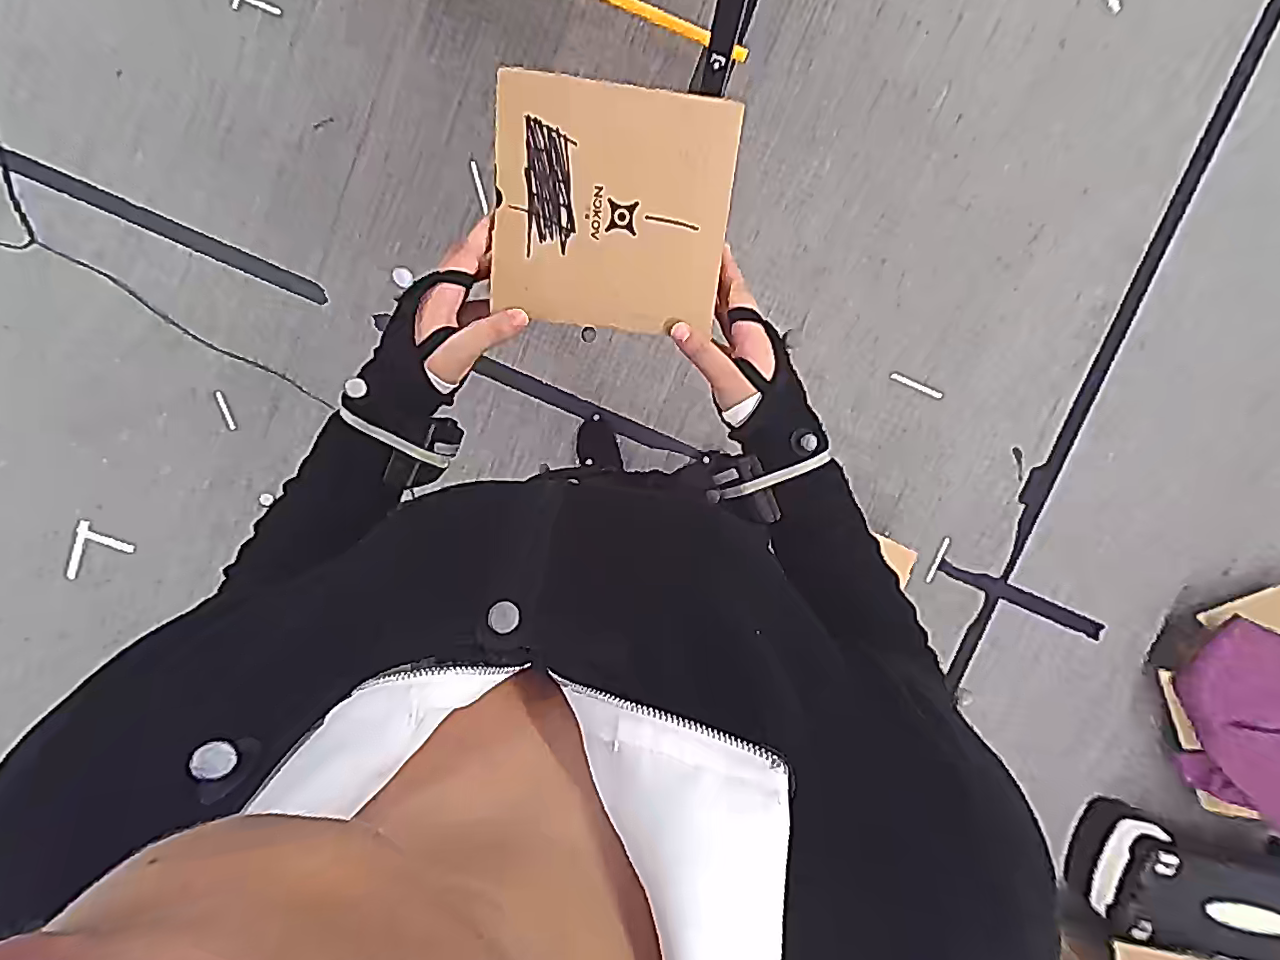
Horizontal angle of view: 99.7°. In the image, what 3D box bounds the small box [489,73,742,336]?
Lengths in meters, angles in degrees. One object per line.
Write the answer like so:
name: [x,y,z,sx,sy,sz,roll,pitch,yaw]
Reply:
small box: [-0.023,-0.223,0.484,0.179,0.176,0.168,7,106,-3]
